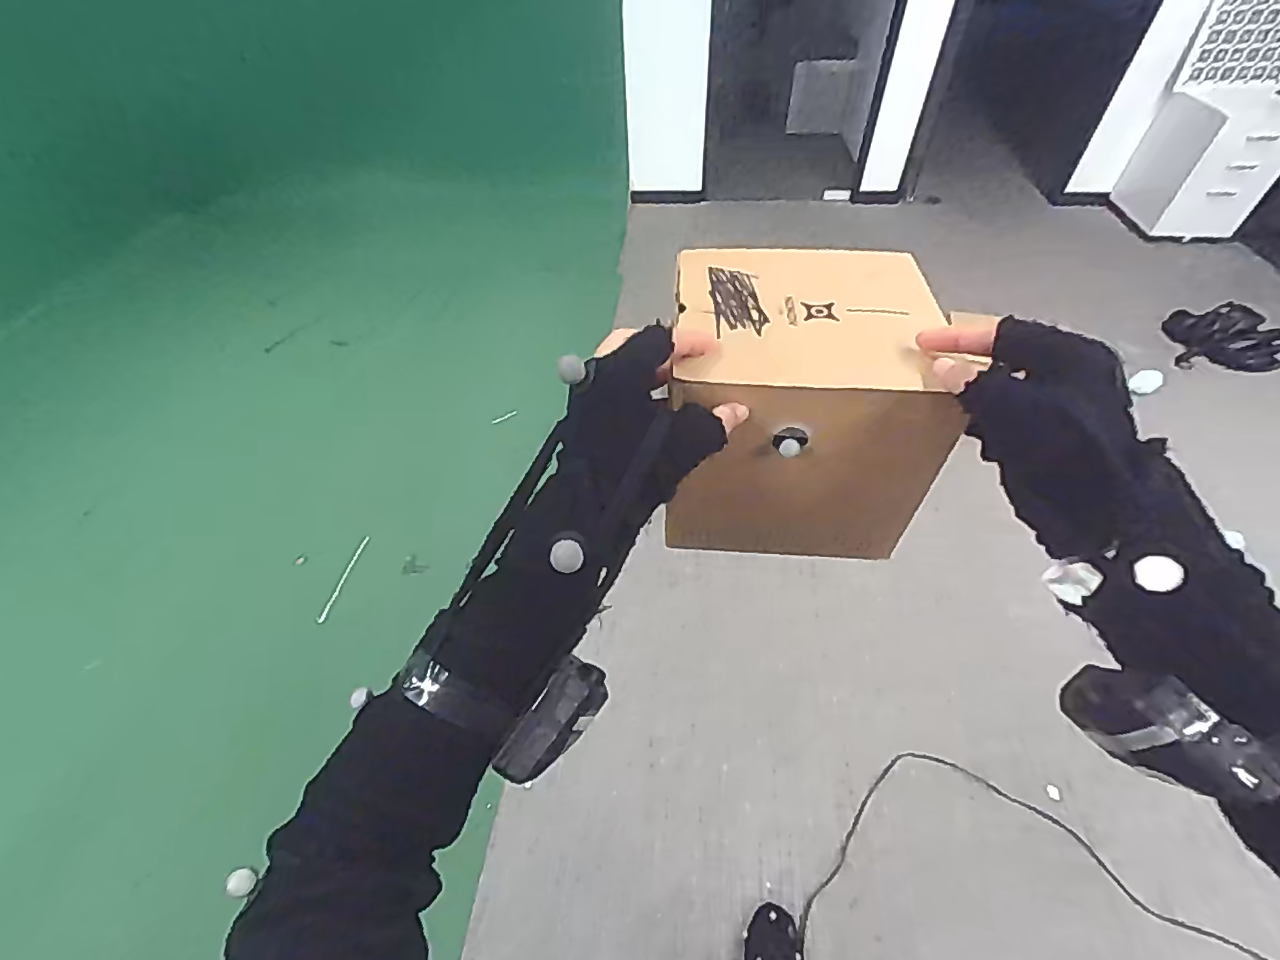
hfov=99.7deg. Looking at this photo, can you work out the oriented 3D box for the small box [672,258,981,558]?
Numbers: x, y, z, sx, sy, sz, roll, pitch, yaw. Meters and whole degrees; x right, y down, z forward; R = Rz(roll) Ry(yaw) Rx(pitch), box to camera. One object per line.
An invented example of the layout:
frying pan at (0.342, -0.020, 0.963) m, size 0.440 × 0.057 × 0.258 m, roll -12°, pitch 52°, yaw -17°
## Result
small box at (0.117, -0.054, 0.423) m, size 0.179 × 0.176 × 0.168 m, roll 4°, pitch 48°, yaw 4°
